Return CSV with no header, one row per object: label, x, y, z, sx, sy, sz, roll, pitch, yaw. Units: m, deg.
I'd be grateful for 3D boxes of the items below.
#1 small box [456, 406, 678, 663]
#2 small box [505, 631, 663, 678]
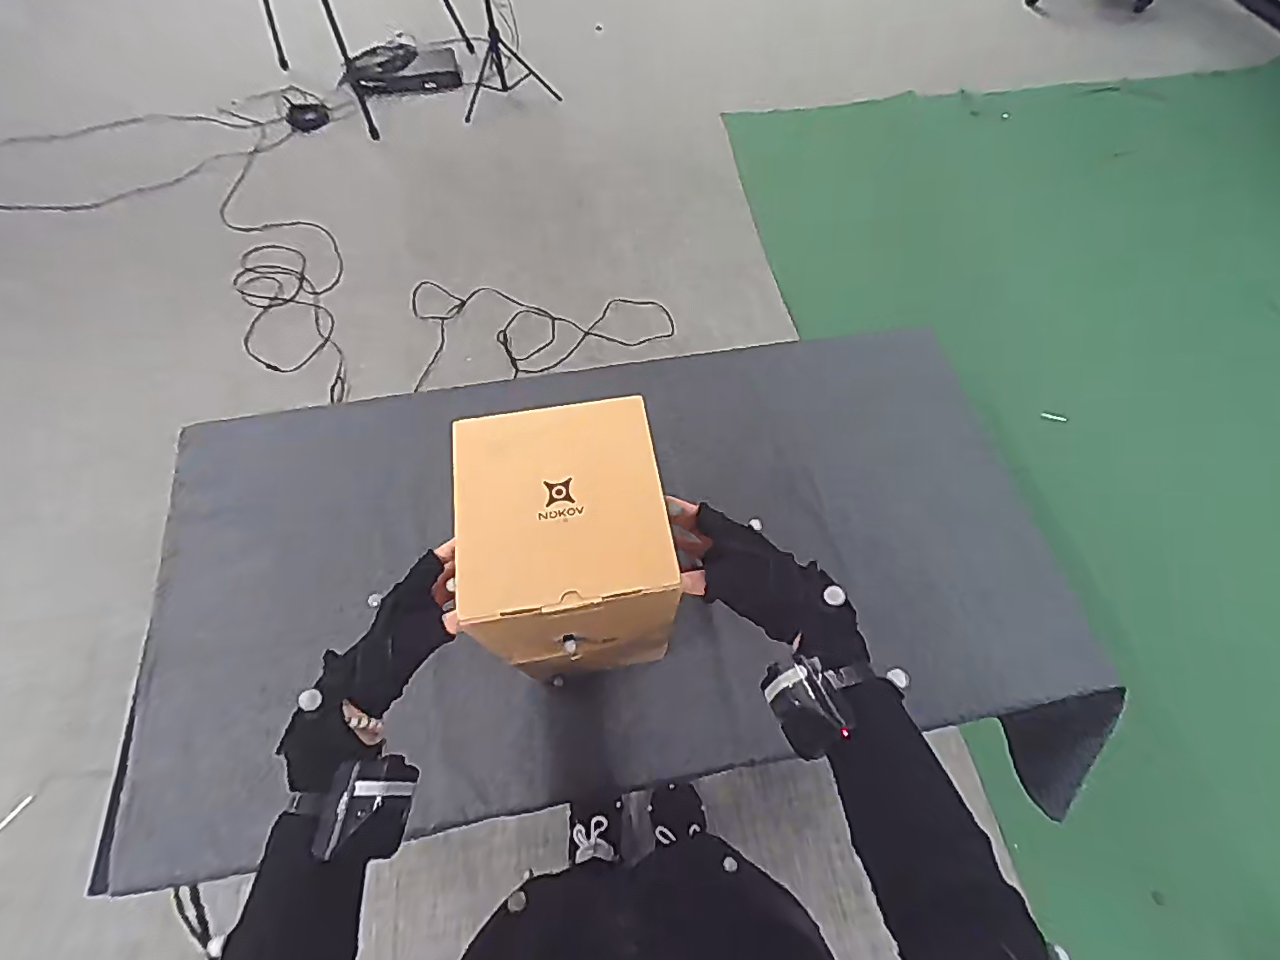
small box,-0.067,0.058,0.508,0.168,0.176,0.179,-9,63,-5
small box,-0.068,0.132,0.652,0.168,0.176,0.179,-10,62,-5
